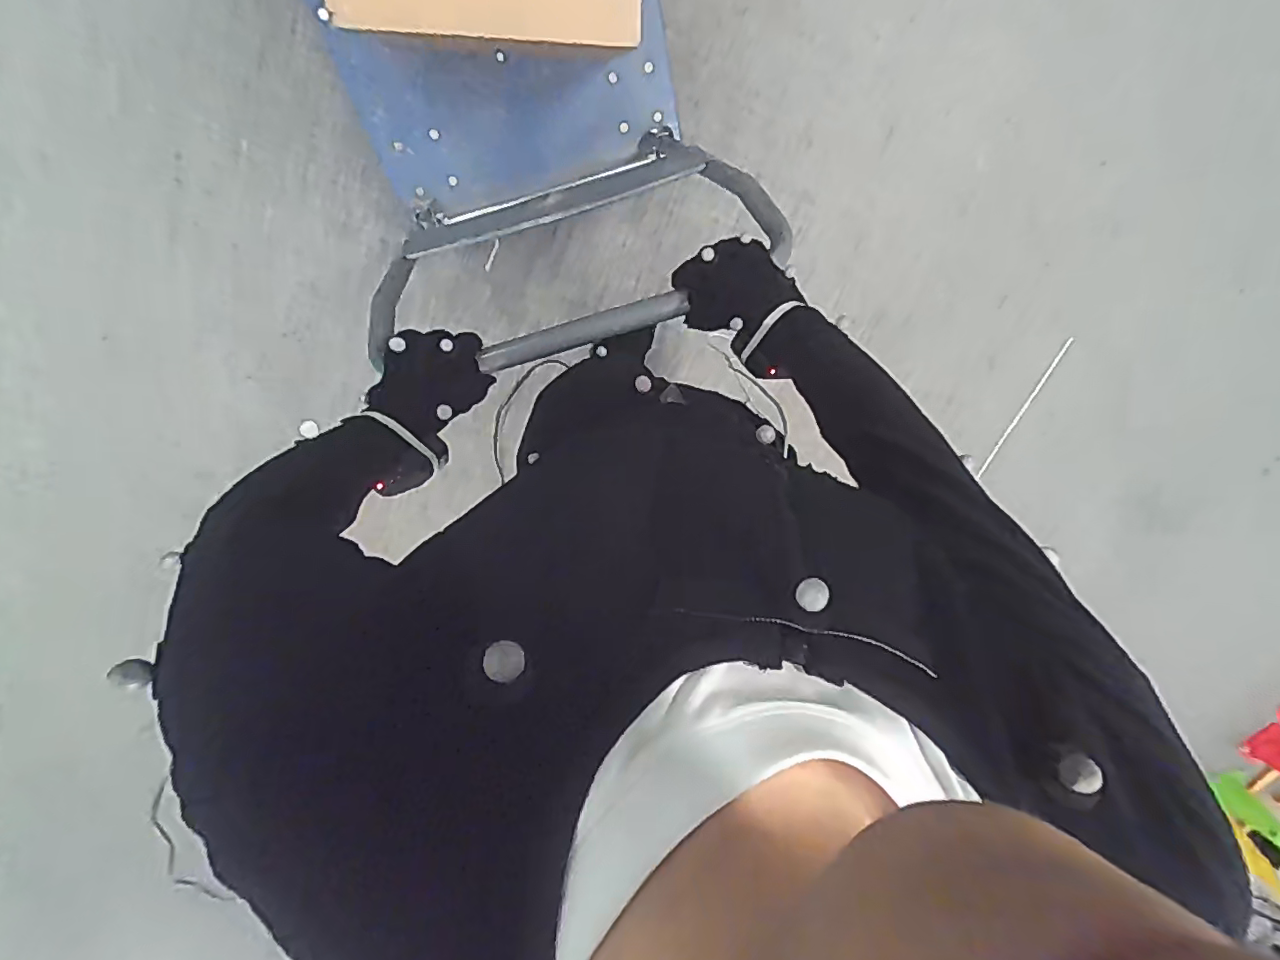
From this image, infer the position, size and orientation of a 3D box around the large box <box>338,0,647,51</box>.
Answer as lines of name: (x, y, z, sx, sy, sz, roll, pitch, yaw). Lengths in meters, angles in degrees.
large box: (-0.203, -0.806, 0.757, 0.408, 0.320, 0.320, -3, 125, -7)
